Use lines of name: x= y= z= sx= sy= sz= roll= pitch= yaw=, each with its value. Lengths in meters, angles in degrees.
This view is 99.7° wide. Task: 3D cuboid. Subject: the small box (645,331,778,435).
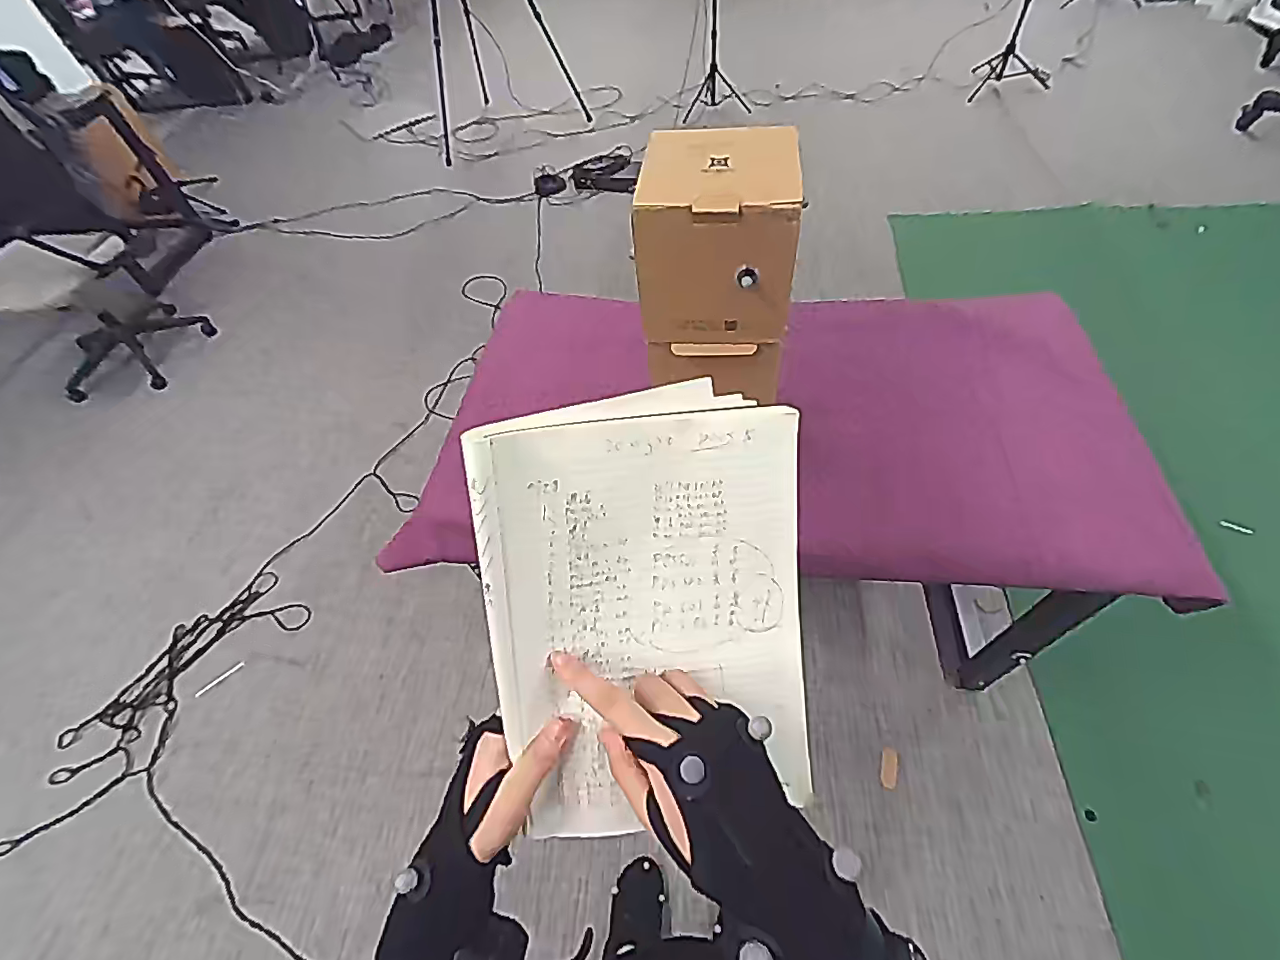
small box: x=0.105 y=-0.180 z=0.769 sx=0.168 sy=0.176 sz=0.179 roll=3 pitch=53 yaw=9

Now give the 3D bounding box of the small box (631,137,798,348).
small box: x=0.090 y=-0.274 z=0.636 sx=0.168 sy=0.176 sz=0.179 roll=4 pitch=53 yaw=8

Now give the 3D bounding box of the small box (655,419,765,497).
small box: x=0.121 y=-0.087 z=0.904 sx=0.168 sy=0.176 sz=0.179 roll=3 pitch=54 yaw=8
